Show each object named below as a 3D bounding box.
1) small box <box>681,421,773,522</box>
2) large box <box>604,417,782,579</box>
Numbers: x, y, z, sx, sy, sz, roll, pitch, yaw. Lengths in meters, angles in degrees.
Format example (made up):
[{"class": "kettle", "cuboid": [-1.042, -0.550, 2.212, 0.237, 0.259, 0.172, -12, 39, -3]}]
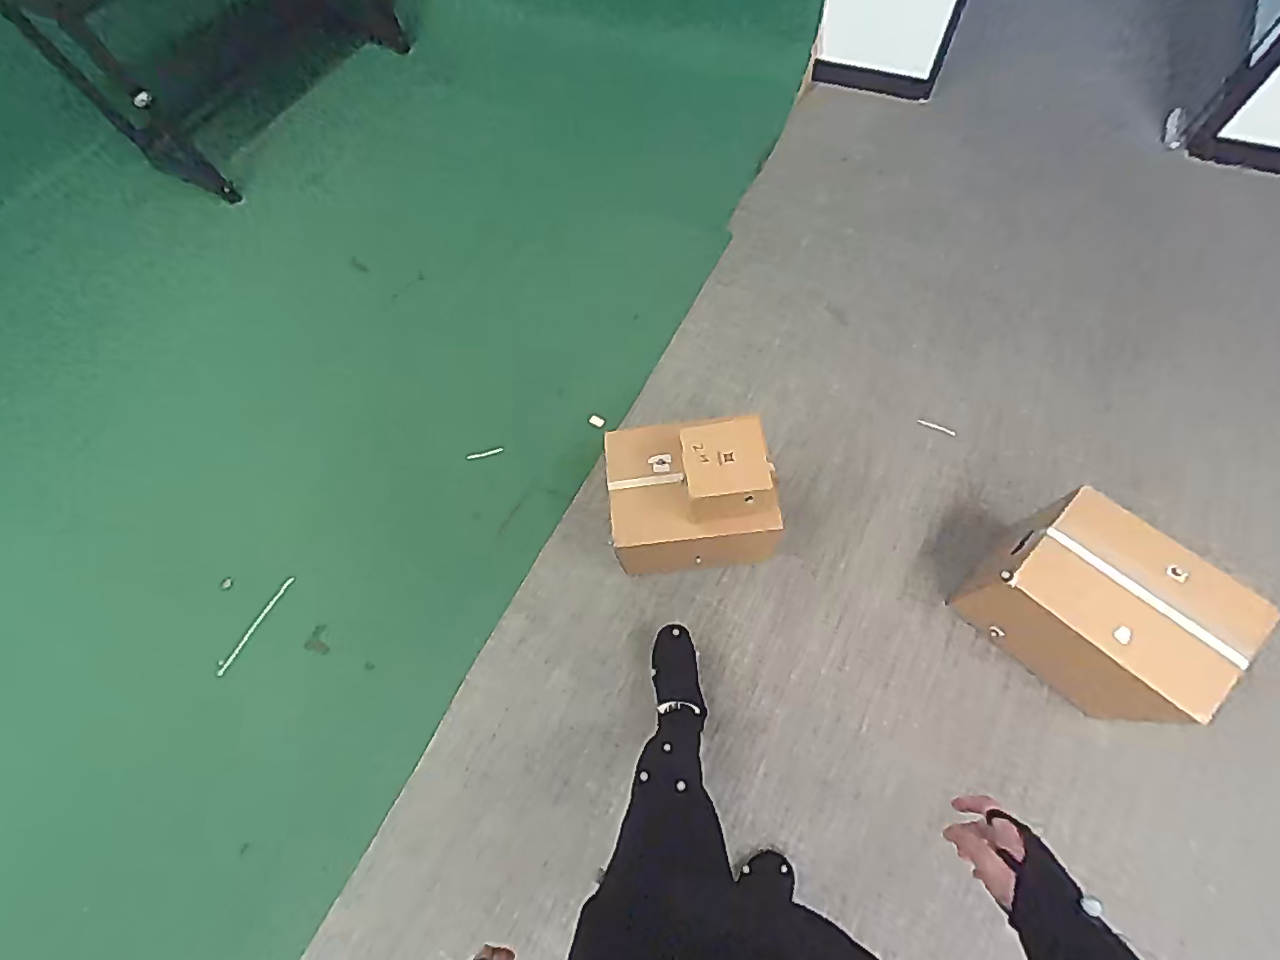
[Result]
[{"class": "small box", "cuboid": [0.187, -0.014, 1.211, 0.179, 0.176, 0.168, -7, 67, 3]}, {"class": "large box", "cuboid": [0.136, 0.063, 1.454, 0.408, 0.320, 0.320, -7, 65, 4]}]
